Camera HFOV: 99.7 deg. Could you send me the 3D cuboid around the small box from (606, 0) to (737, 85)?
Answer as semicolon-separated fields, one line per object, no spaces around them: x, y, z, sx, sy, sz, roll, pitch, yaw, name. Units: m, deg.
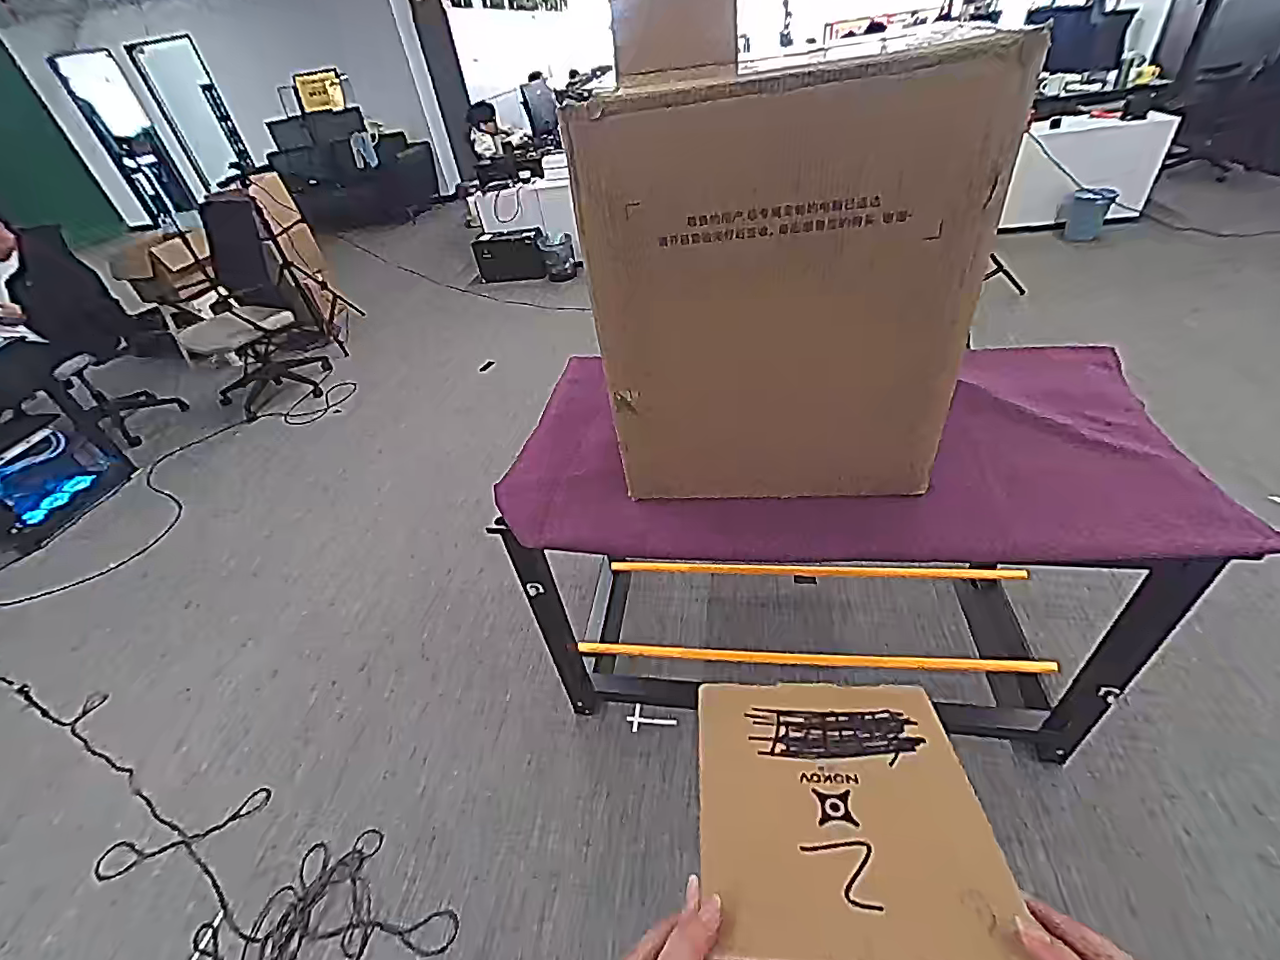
0.049;-0.680;0.765;0.179;0.176;0.168;-1;39;9;small box
